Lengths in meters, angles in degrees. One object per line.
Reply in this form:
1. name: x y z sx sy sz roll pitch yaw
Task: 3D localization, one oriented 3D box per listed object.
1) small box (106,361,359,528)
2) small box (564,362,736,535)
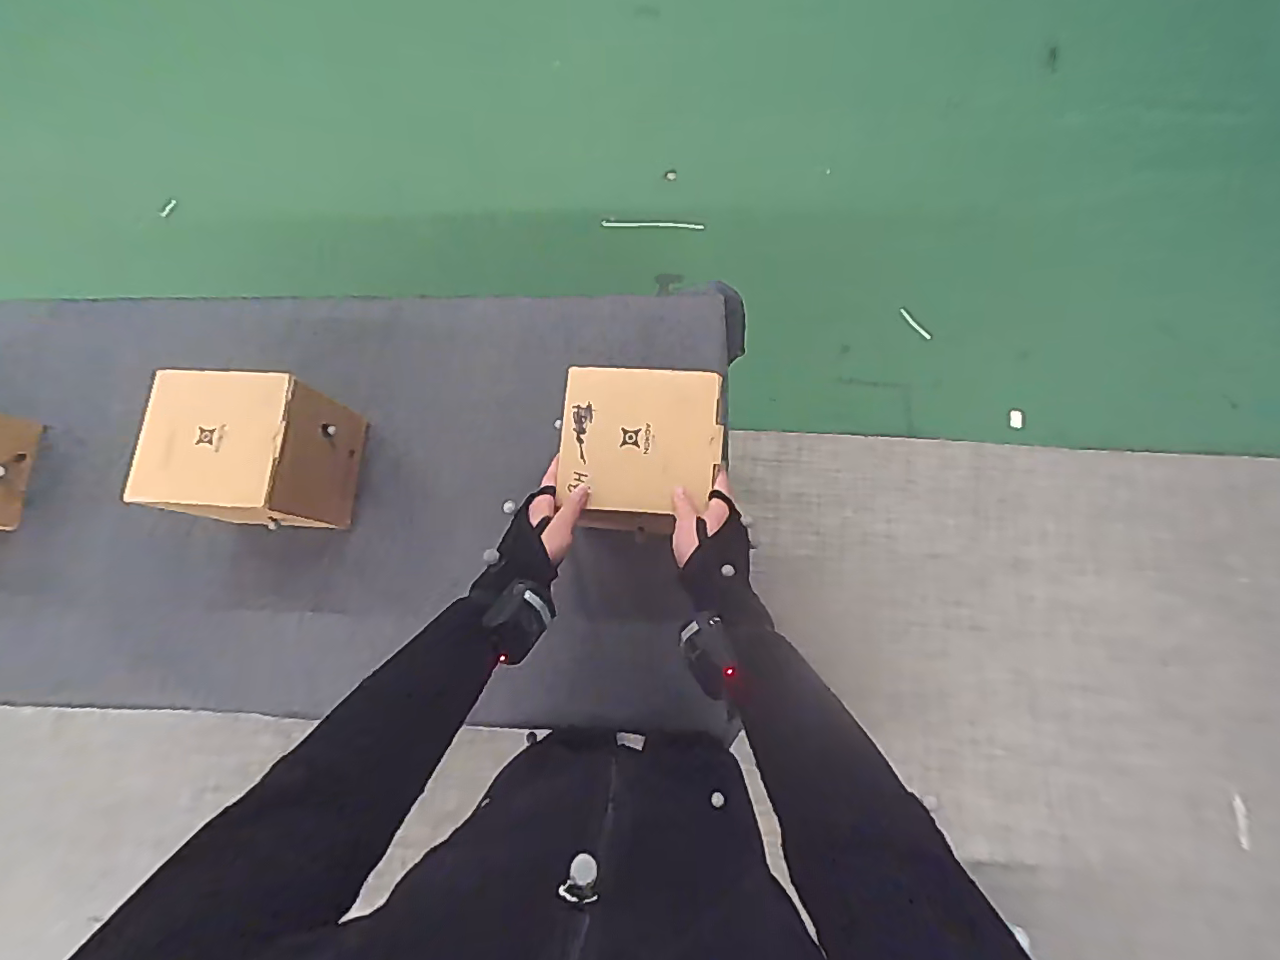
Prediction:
1. small box: -0.486 -0.035 0.678 0.179 0.176 0.168 2 75 3
2. small box: 0.013 -0.028 0.664 0.179 0.176 0.168 5 76 2
